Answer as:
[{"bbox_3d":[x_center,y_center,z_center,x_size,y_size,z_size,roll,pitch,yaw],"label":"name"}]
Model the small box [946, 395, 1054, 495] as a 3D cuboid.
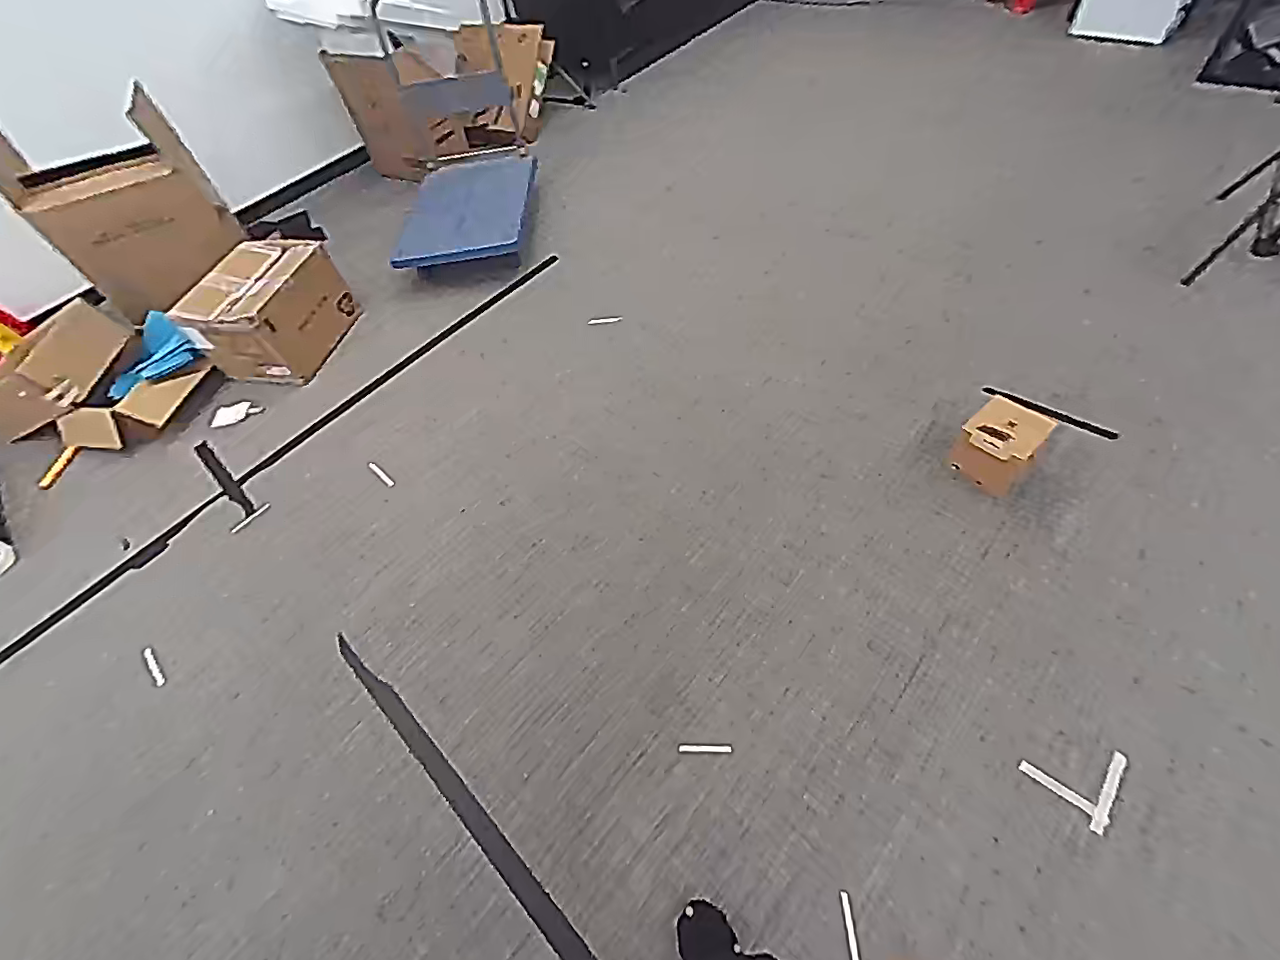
[{"bbox_3d":[0.972,-0.091,1.479,0.179,0.176,0.168,-38,57,-18],"label":"small box"}]
